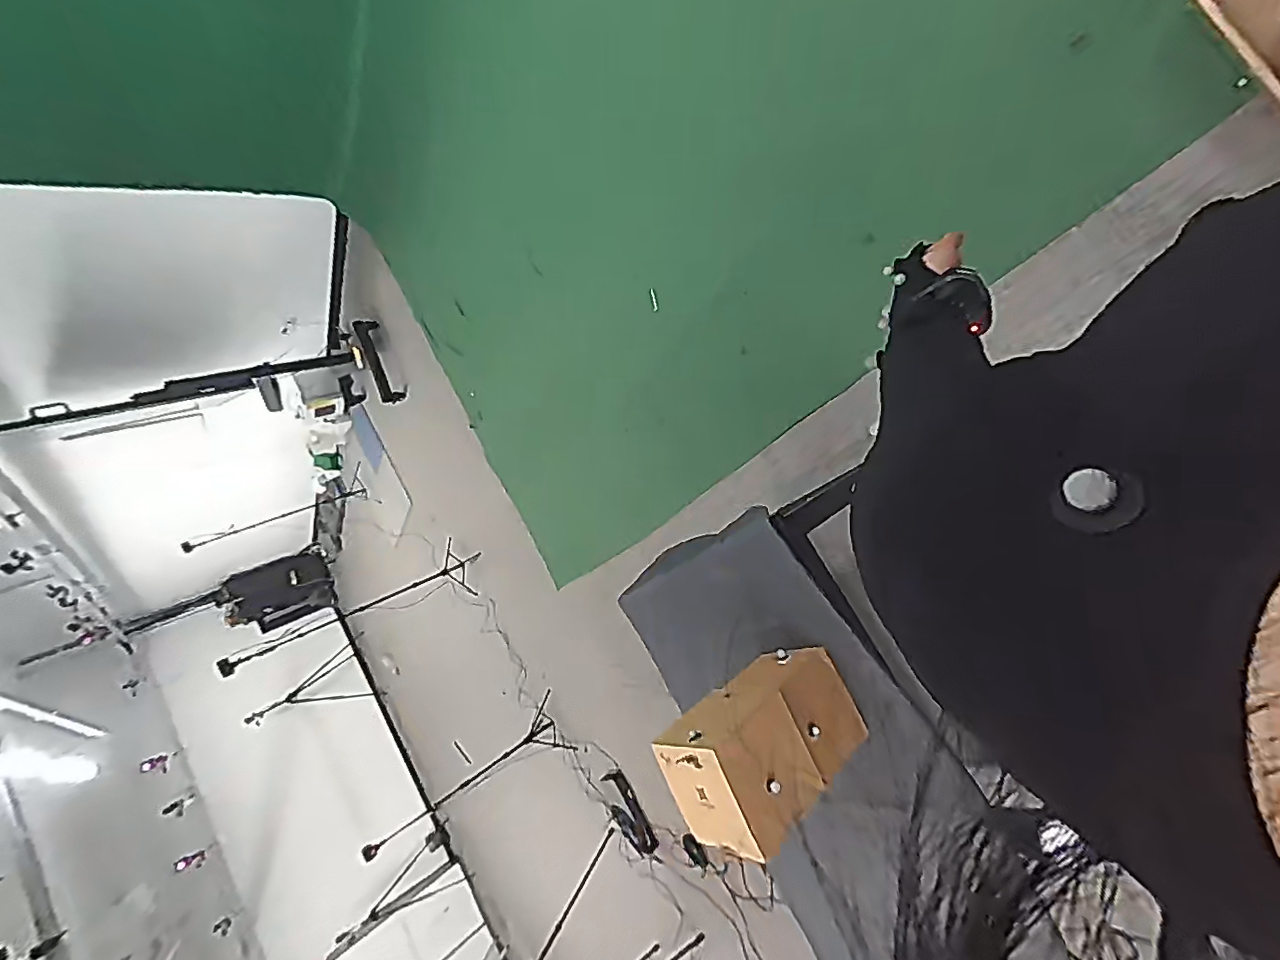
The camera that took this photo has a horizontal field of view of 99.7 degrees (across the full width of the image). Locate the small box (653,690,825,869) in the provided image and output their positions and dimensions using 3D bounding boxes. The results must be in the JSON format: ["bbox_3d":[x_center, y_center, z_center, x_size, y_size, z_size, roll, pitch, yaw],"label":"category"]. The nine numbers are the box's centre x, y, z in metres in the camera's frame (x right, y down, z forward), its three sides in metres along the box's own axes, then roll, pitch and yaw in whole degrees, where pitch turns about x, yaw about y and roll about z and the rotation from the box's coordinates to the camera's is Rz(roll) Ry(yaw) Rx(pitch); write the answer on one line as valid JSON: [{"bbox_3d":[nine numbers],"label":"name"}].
[{"bbox_3d":[0.160,0.460,0.861,0.168,0.176,0.179,-31,84,51],"label":"small box"}]

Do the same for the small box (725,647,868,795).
[{"bbox_3d":[0.275,0.427,0.976,0.168,0.176,0.179,-35,80,50],"label":"small box"}]
